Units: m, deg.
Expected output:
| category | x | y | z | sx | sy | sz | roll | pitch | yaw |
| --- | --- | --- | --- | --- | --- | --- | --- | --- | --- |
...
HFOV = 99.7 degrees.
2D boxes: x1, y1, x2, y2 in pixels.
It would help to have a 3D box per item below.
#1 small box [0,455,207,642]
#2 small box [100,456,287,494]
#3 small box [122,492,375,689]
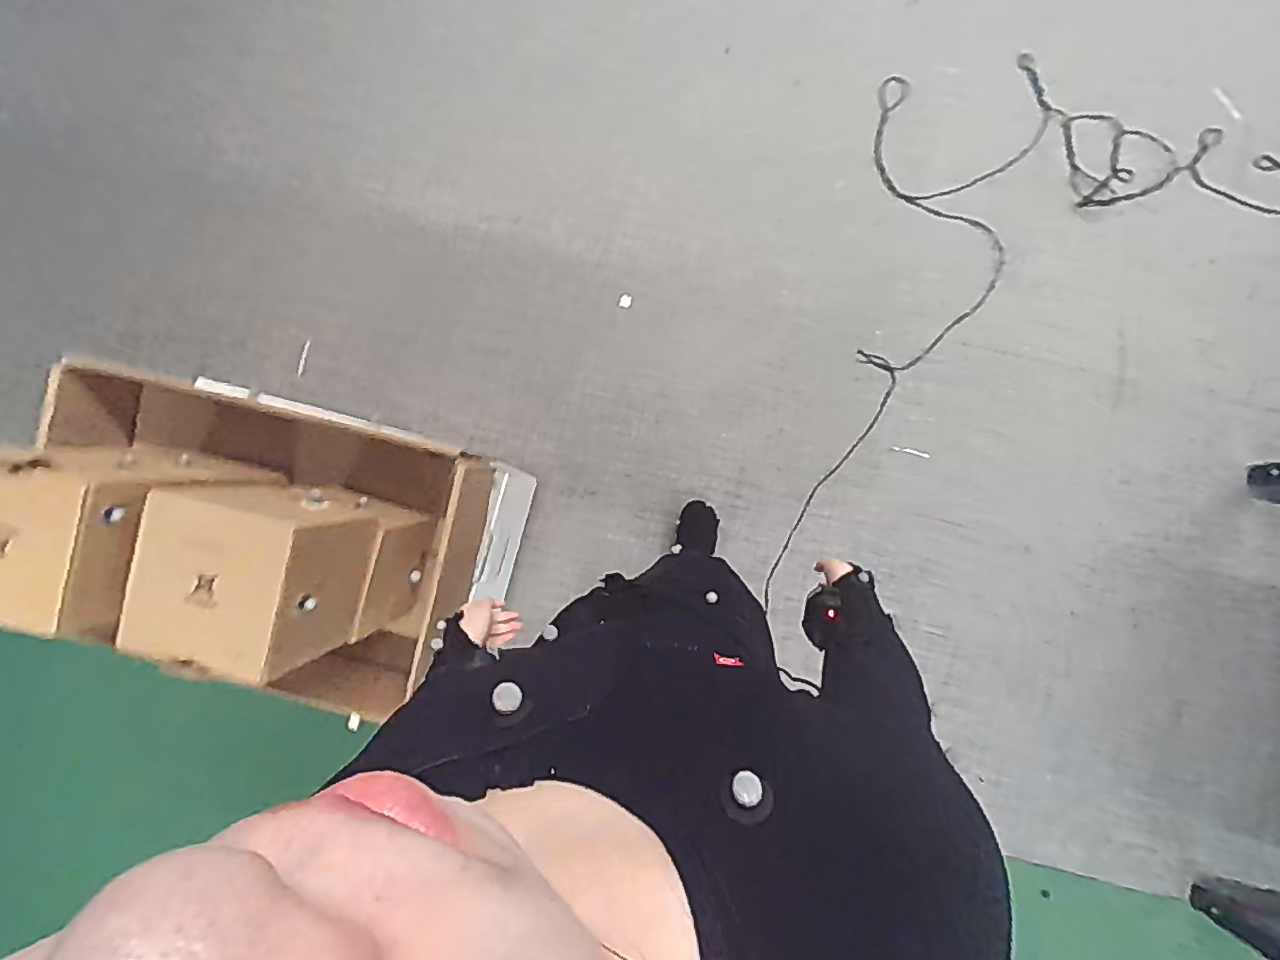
| category | x | y | z | sx | sy | sz | roll | pitch | yaw |
| --- | --- | --- | --- | --- | --- | --- | --- | --- | --- |
| small box | -0.678 | 0.072 | 0.658 | 0.168 | 0.176 | 0.179 | 12 | 90 | 1 |
| small box | -0.678 | 0.067 | 0.821 | 0.168 | 0.176 | 0.179 | 13 | 92 | -1 |
| small box | -0.449 | 0.117 | 0.648 | 0.168 | 0.176 | 0.179 | 13 | 90 | 2 |
